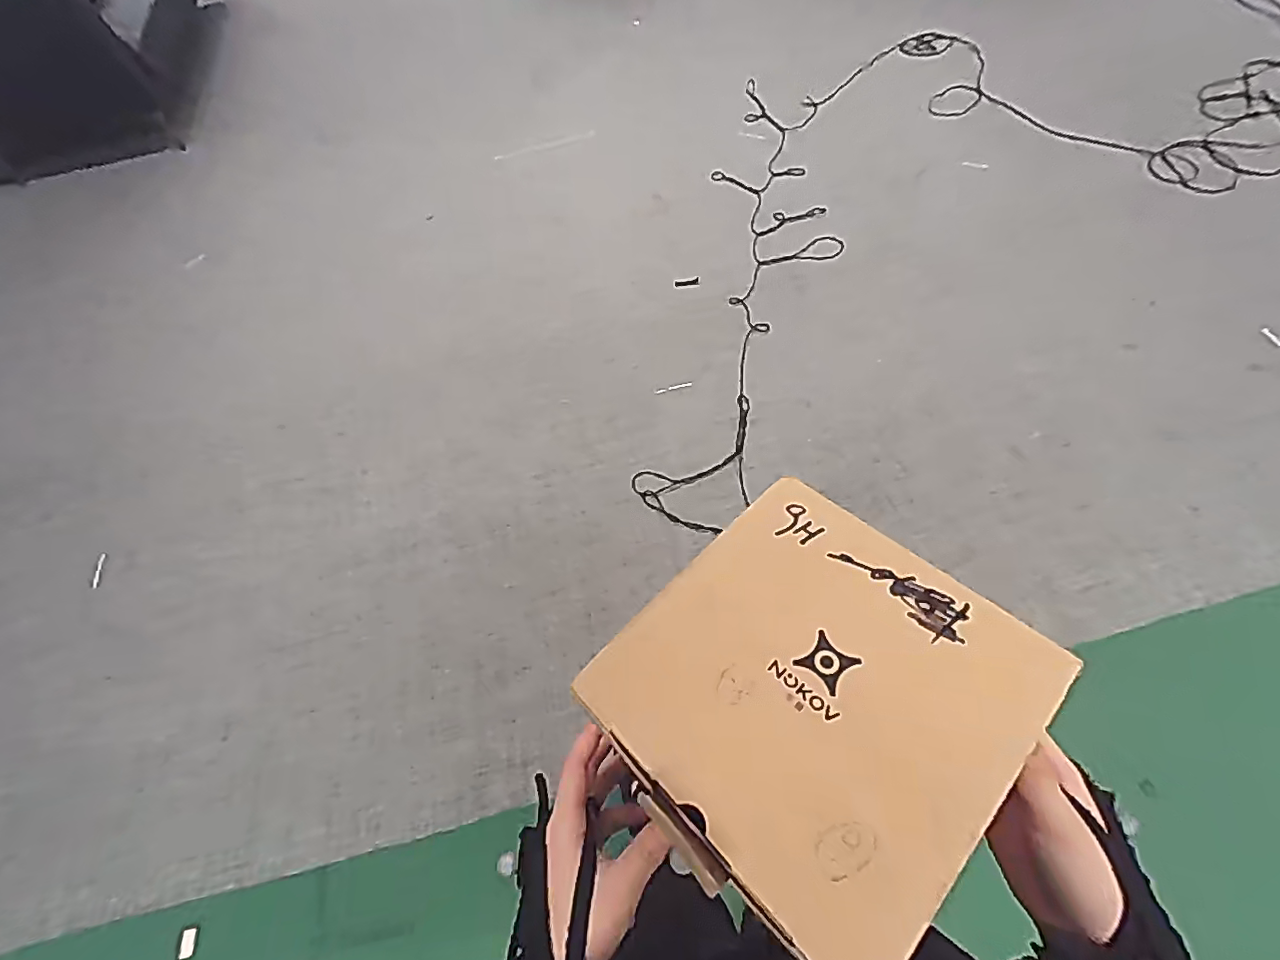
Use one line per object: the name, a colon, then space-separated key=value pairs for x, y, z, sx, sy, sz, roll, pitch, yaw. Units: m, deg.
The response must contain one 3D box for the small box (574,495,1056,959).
small box: x=0.092 y=0.150 z=0.328 sx=0.179 sy=0.176 sz=0.168 roll=-40 pitch=57 yaw=-20
